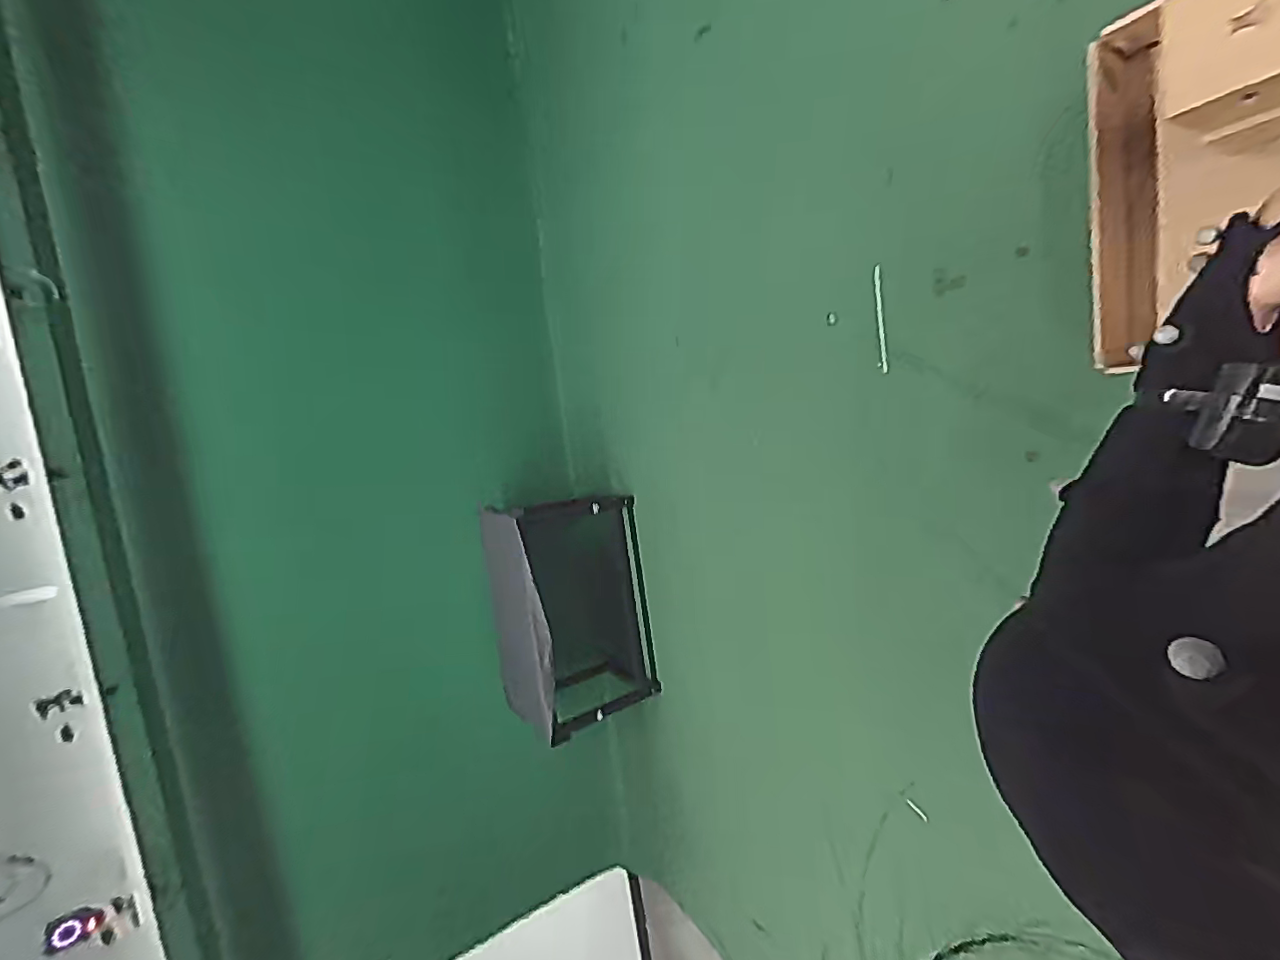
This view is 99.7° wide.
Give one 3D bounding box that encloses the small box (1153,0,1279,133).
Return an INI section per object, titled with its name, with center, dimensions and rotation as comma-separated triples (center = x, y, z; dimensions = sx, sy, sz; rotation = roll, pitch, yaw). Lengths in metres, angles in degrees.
[small box]
center = 0.861, -0.616, 0.752
dimensions = 0.179, 0.176, 0.168
rotation = 3, 103, 58
